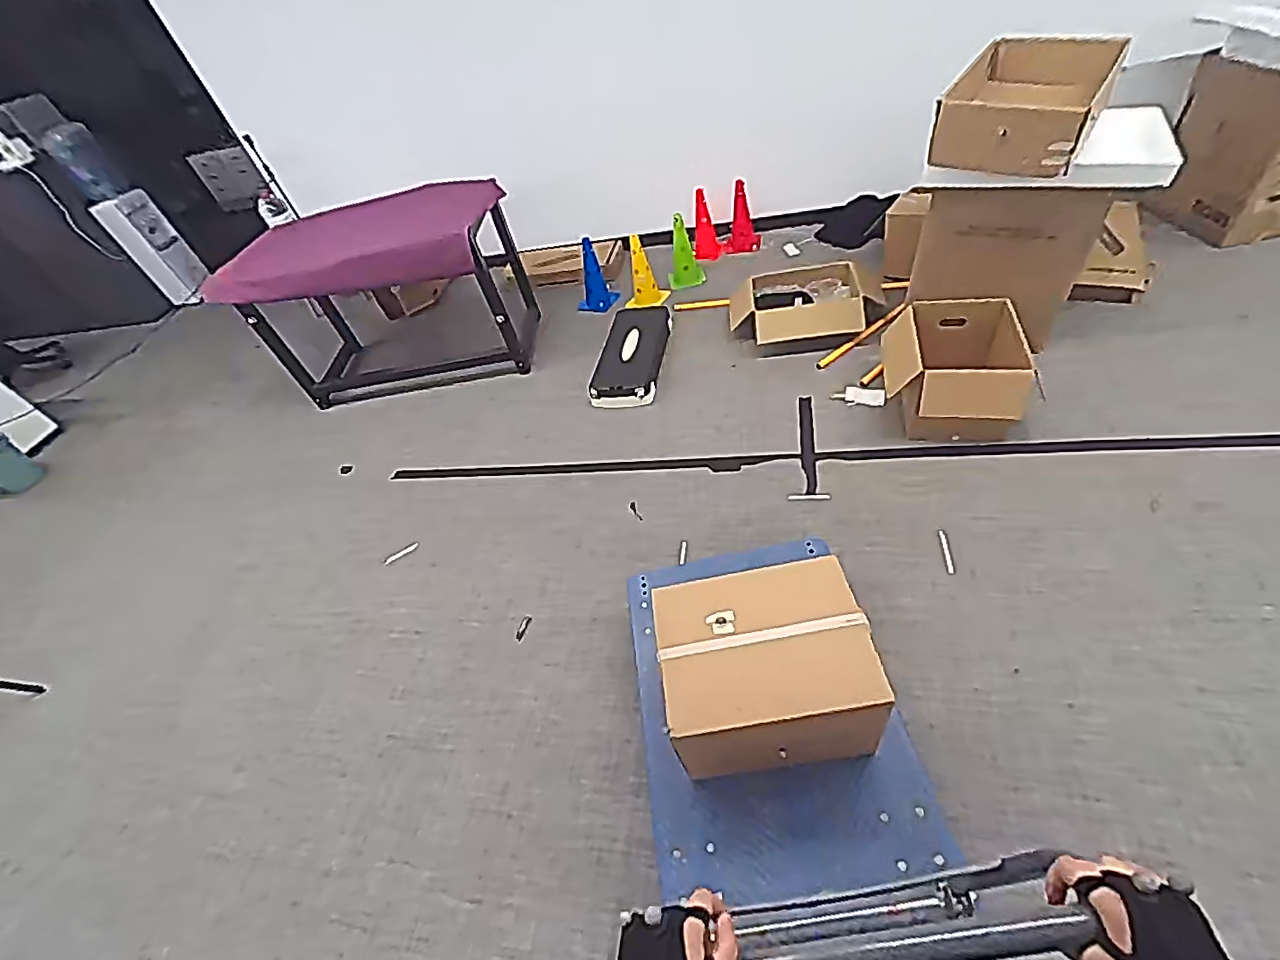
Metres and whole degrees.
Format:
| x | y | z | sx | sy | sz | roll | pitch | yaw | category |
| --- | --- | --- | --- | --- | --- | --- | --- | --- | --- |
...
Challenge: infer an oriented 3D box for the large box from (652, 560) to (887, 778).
| x | y | z | sx | sy | sz | roll | pitch | yaw | category |
| --- | --- | --- | --- | --- | --- | --- | --- | --- | --- |
| 0.267 | 0.422 | 1.186 | 0.408 | 0.320 | 0.320 | -13 | 46 | 5 | large box |
